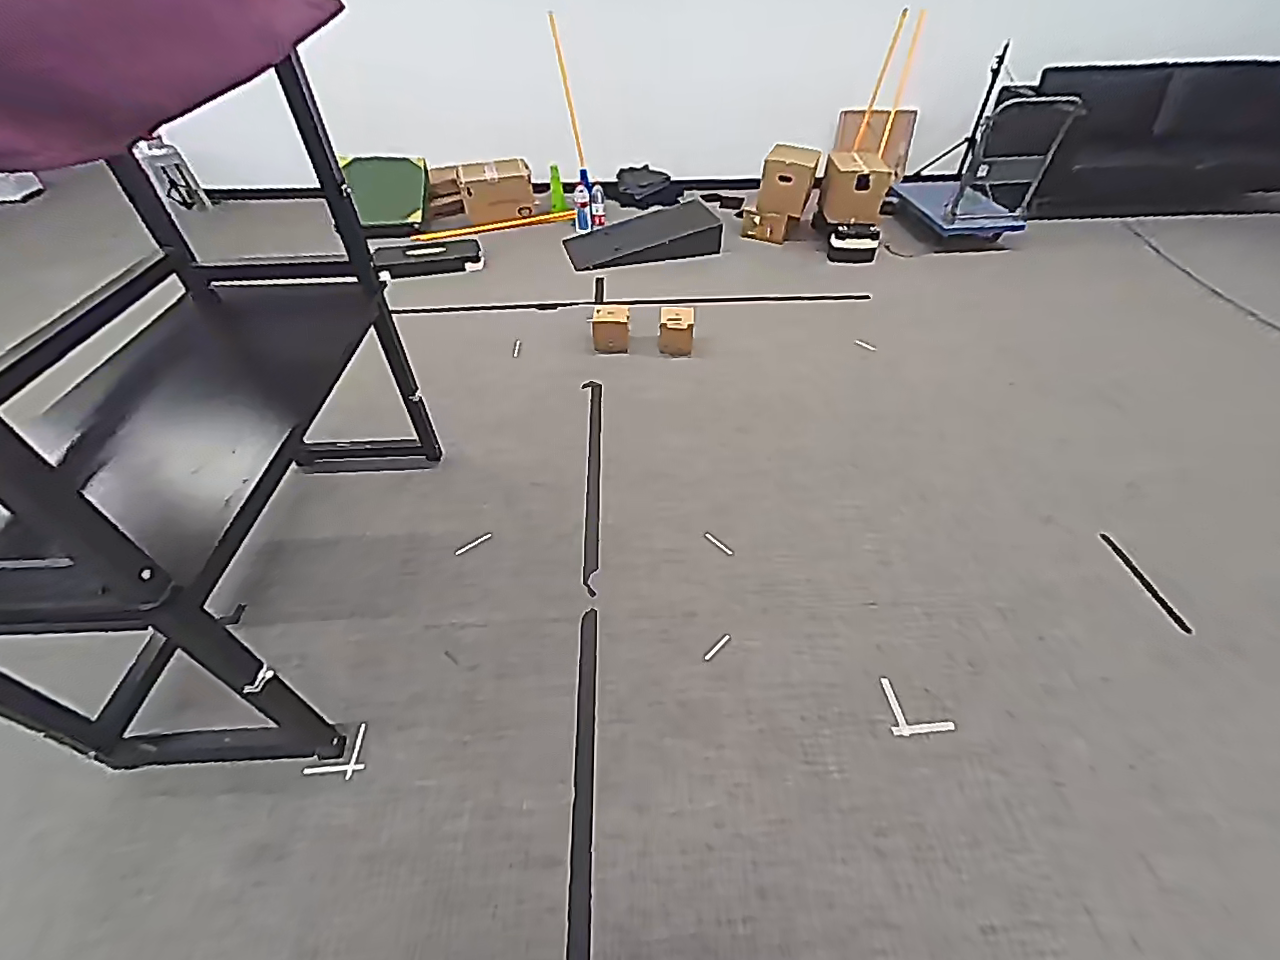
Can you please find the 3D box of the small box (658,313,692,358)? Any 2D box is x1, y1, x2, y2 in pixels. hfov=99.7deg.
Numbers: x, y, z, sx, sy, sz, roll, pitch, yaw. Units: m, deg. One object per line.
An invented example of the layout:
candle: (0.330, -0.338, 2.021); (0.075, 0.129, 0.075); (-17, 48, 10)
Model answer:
small box: (0.179, -0.737, 2.763); (0.168, 0.176, 0.179); (3, 44, 2)

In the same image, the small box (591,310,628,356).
small box: (-0.153, -0.749, 2.770); (0.179, 0.176, 0.168); (3, 45, 1)
